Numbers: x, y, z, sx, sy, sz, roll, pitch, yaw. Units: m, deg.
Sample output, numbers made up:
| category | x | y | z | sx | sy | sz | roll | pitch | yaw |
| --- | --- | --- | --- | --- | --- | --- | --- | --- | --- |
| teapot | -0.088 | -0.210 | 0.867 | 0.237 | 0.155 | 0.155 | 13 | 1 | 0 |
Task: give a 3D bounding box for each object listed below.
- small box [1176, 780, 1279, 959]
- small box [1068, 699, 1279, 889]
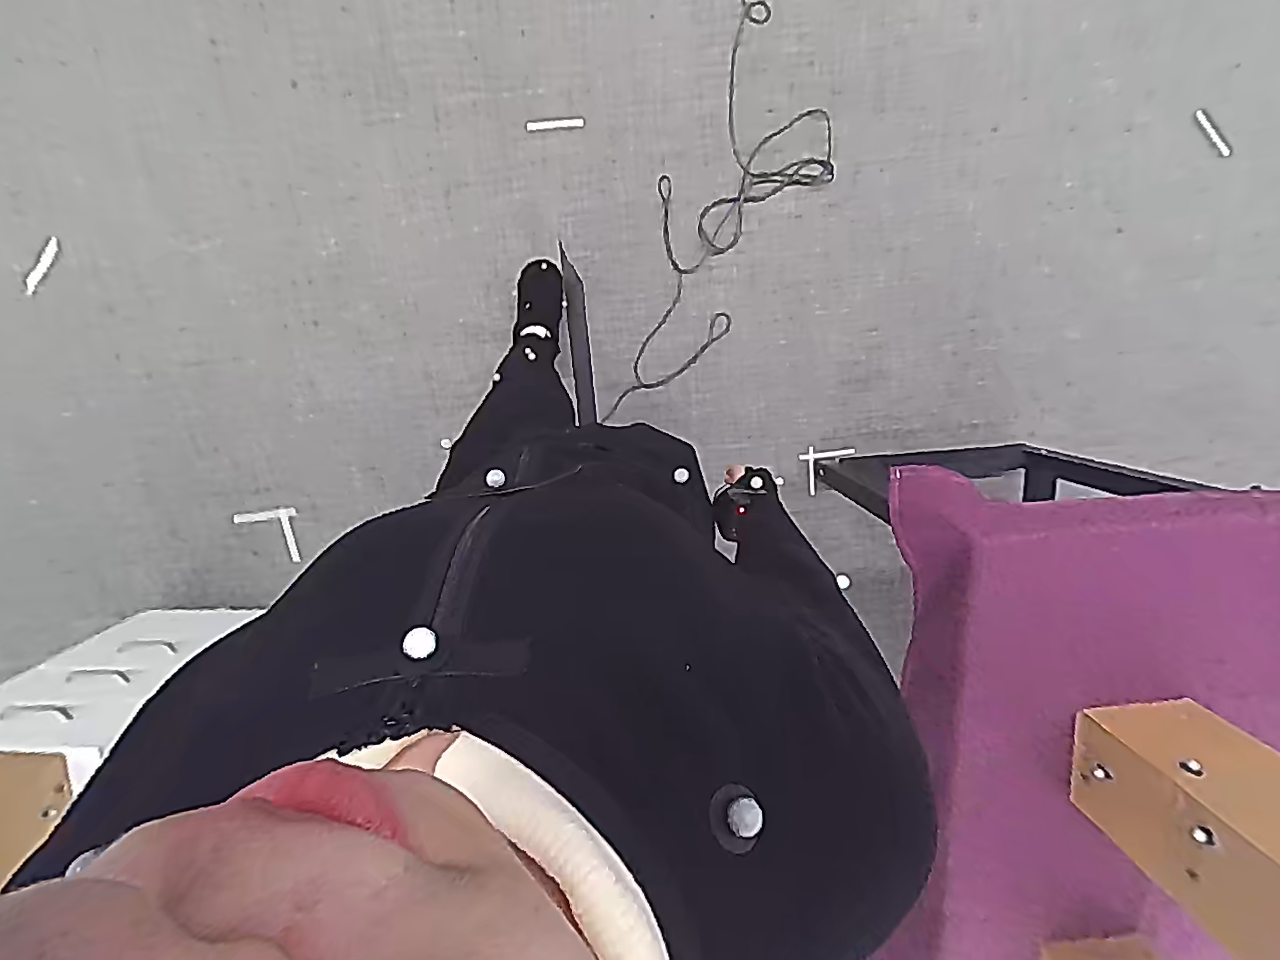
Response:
| category | x | y | z | sx | sy | sz | roll | pitch | yaw |
| --- | --- | --- | --- | --- | --- | --- | --- | --- | --- |
| small box | 0.773 | 0.471 | 0.613 | 0.179 | 0.176 | 0.168 | -7 | 103 | 0 |
| small box | 0.769 | 0.435 | 0.773 | 0.179 | 0.176 | 0.168 | -6 | 103 | 1 |
